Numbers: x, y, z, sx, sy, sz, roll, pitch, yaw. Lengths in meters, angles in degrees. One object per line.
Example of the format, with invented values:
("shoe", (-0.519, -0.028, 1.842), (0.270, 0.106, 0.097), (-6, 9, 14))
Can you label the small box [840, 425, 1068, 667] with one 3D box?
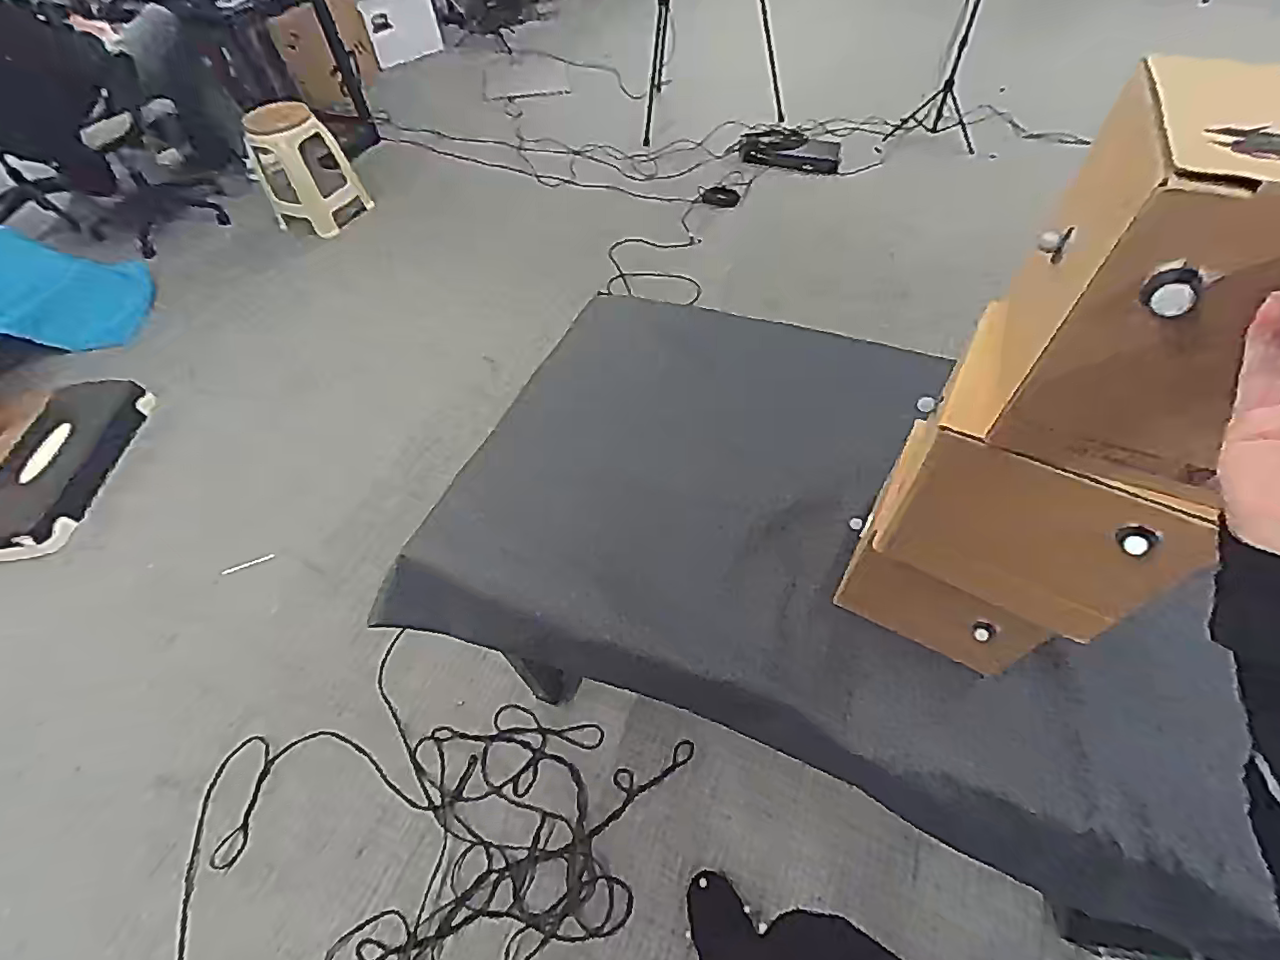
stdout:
("small box", (0.342, 0.077, 0.582), (0.179, 0.176, 0.168), (24, 57, 21))

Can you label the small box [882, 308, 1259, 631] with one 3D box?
("small box", (0.325, -0.006, 0.441), (0.179, 0.176, 0.168), (26, 58, 21))
